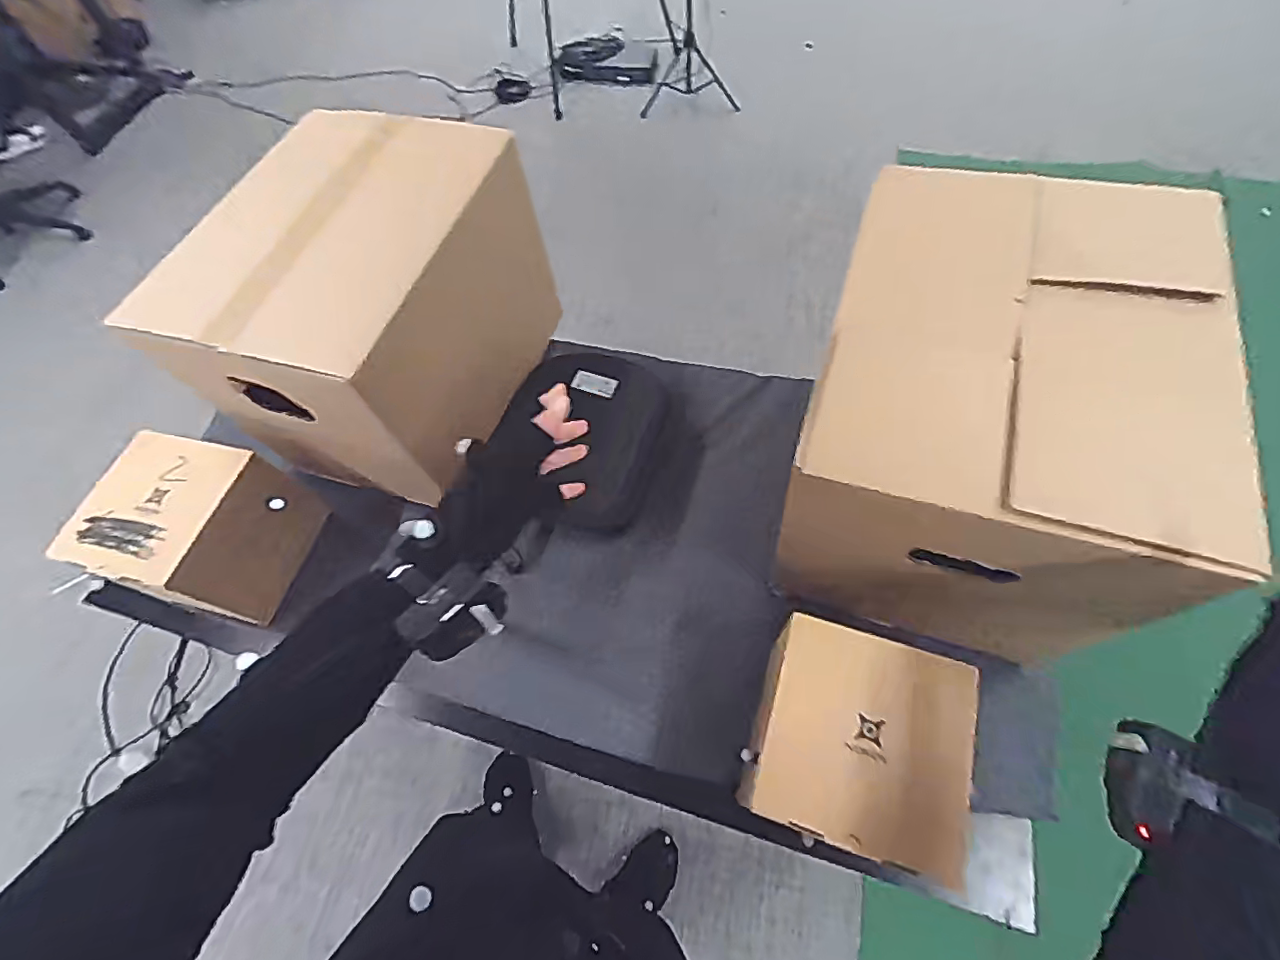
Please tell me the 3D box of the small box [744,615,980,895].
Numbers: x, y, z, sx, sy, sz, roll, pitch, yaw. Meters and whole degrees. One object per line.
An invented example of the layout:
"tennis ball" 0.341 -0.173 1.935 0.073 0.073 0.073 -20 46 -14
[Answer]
"small box" 0.206 0.260 0.535 0.168 0.176 0.179 15 65 13
